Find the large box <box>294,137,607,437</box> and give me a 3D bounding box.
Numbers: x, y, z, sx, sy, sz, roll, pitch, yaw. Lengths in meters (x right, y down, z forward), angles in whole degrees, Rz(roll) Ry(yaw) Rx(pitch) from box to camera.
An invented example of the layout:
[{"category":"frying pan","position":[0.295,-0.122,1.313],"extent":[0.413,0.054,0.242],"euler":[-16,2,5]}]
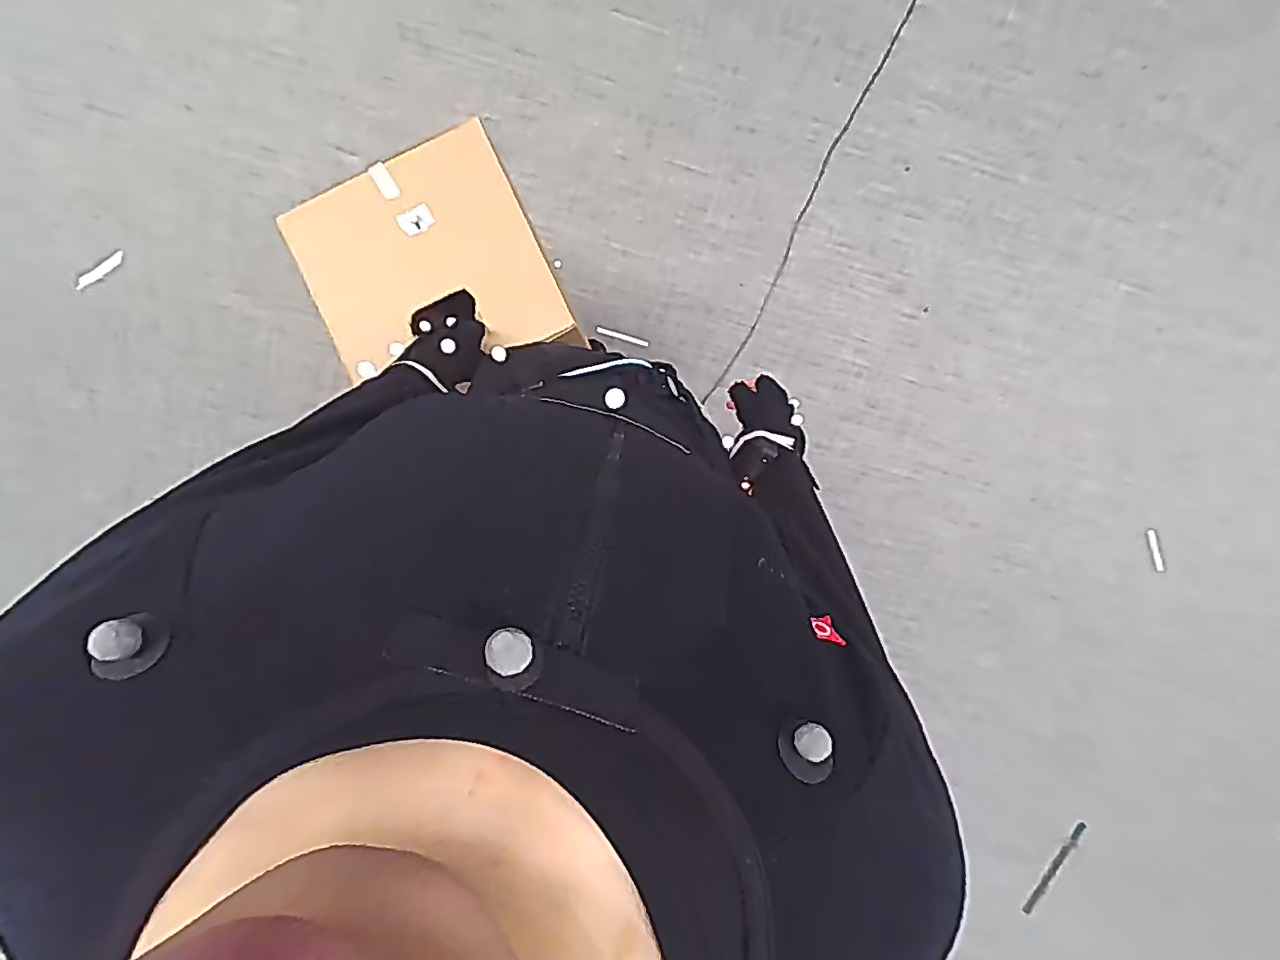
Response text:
[{"category":"large box","position":[-0.279,-0.282,0.936],"extent":[0.320,0.408,0.320],"euler":[-25,91,2]}]
